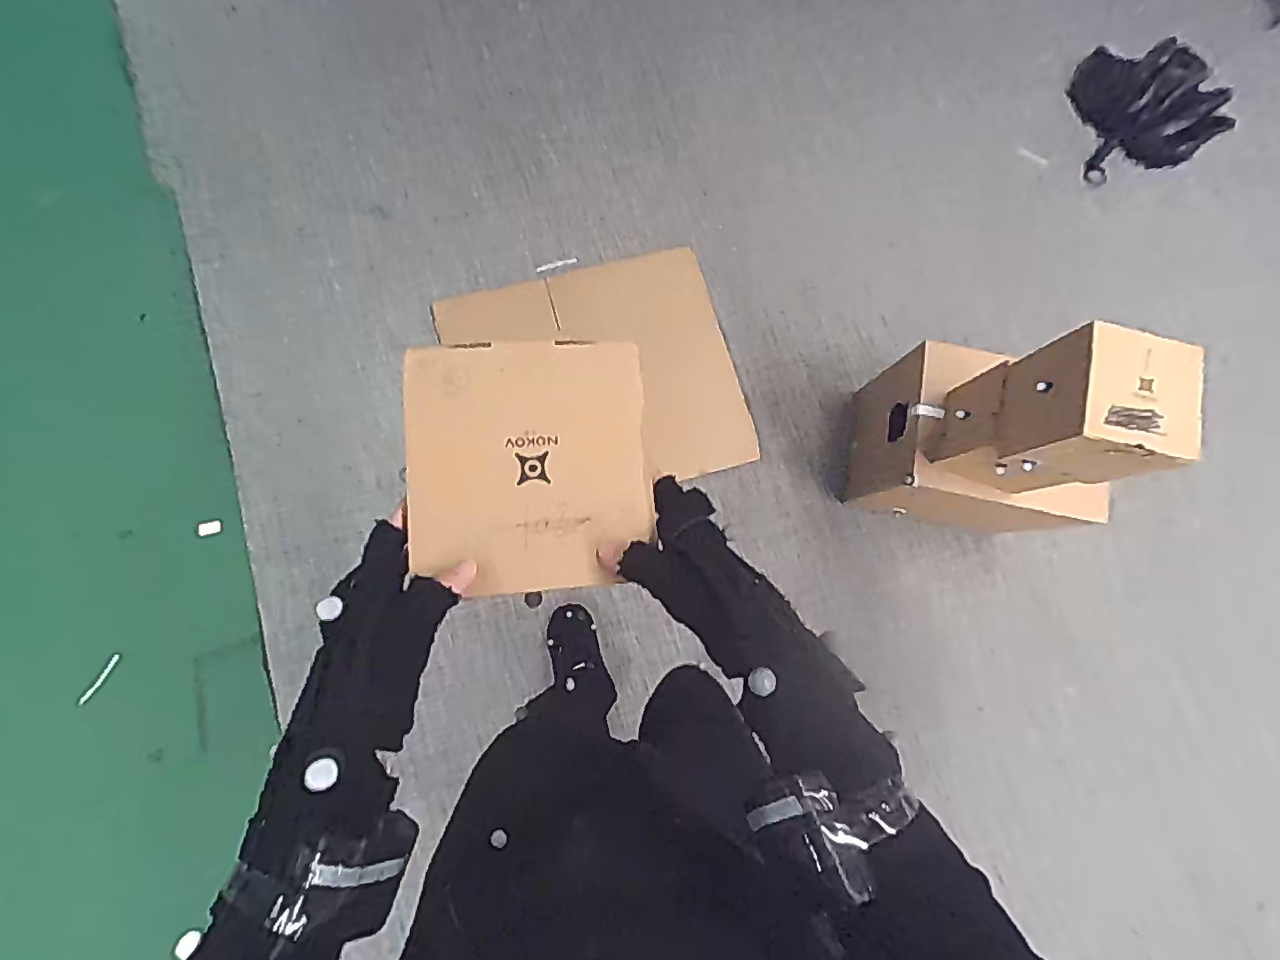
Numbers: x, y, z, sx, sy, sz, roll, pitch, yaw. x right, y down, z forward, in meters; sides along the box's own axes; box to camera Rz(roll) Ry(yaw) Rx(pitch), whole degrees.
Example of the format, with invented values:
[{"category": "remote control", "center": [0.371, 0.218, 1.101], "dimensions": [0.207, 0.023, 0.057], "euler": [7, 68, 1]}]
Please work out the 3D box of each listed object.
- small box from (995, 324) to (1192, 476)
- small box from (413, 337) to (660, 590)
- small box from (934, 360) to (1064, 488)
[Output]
[{"category": "small box", "center": [0.682, -0.111, 0.832], "dimensions": [0.168, 0.176, 0.179], "euler": [10, 81, -1]}, {"category": "small box", "center": [-0.085, -0.004, 0.461], "dimensions": [0.168, 0.176, 0.179], "euler": [-5, 82, -8]}, {"category": "small box", "center": [0.678, -0.094, 0.998], "dimensions": [0.179, 0.176, 0.168], "euler": [16, 78, -1]}]
